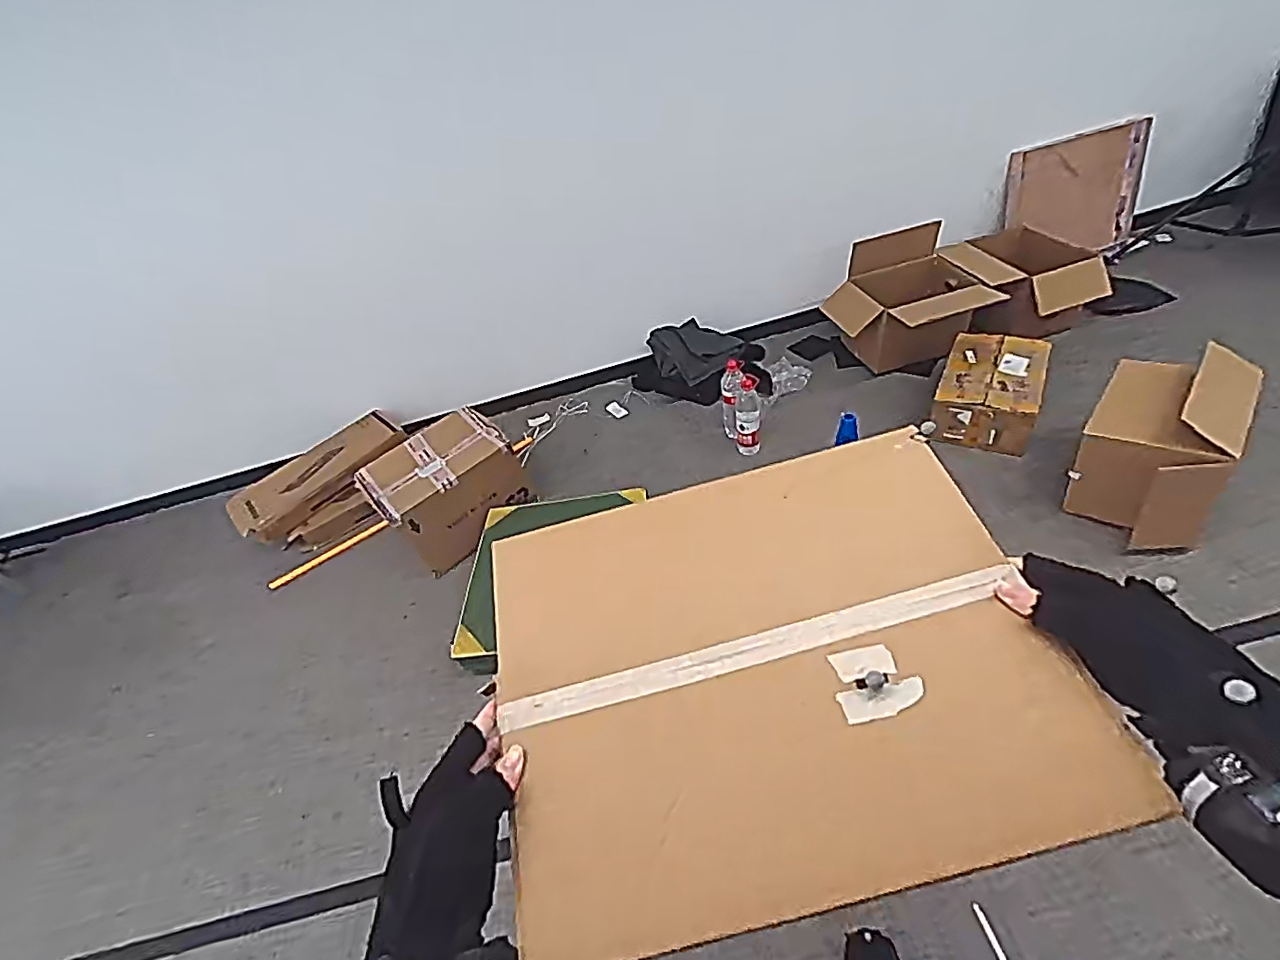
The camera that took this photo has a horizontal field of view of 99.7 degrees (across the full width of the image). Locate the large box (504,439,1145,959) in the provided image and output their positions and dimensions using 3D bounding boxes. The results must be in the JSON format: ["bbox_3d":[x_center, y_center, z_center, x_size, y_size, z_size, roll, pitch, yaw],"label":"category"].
[{"bbox_3d":[0.118,0.218,0.543,0.408,0.320,0.320,-16,55,0],"label":"large box"}]
